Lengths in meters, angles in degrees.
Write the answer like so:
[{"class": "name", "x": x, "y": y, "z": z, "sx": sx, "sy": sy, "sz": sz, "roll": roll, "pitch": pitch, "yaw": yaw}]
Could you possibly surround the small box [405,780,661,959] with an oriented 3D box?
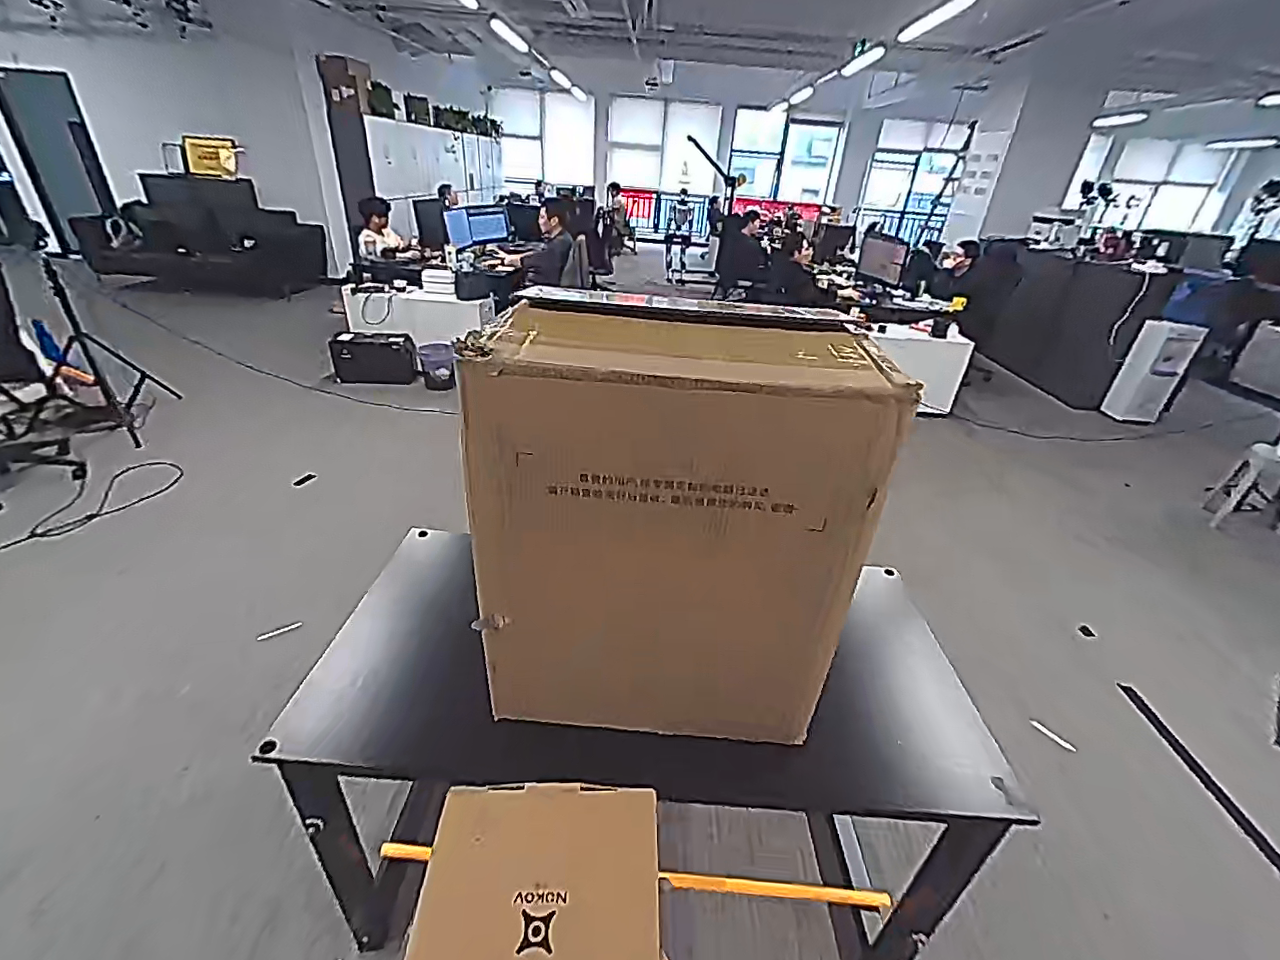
[{"class": "small box", "x": -0.071, "y": 0.357, "z": 0.411, "sx": 0.168, "sy": 0.176, "sz": 0.179, "roll": 1, "pitch": 37, "yaw": -1}]
